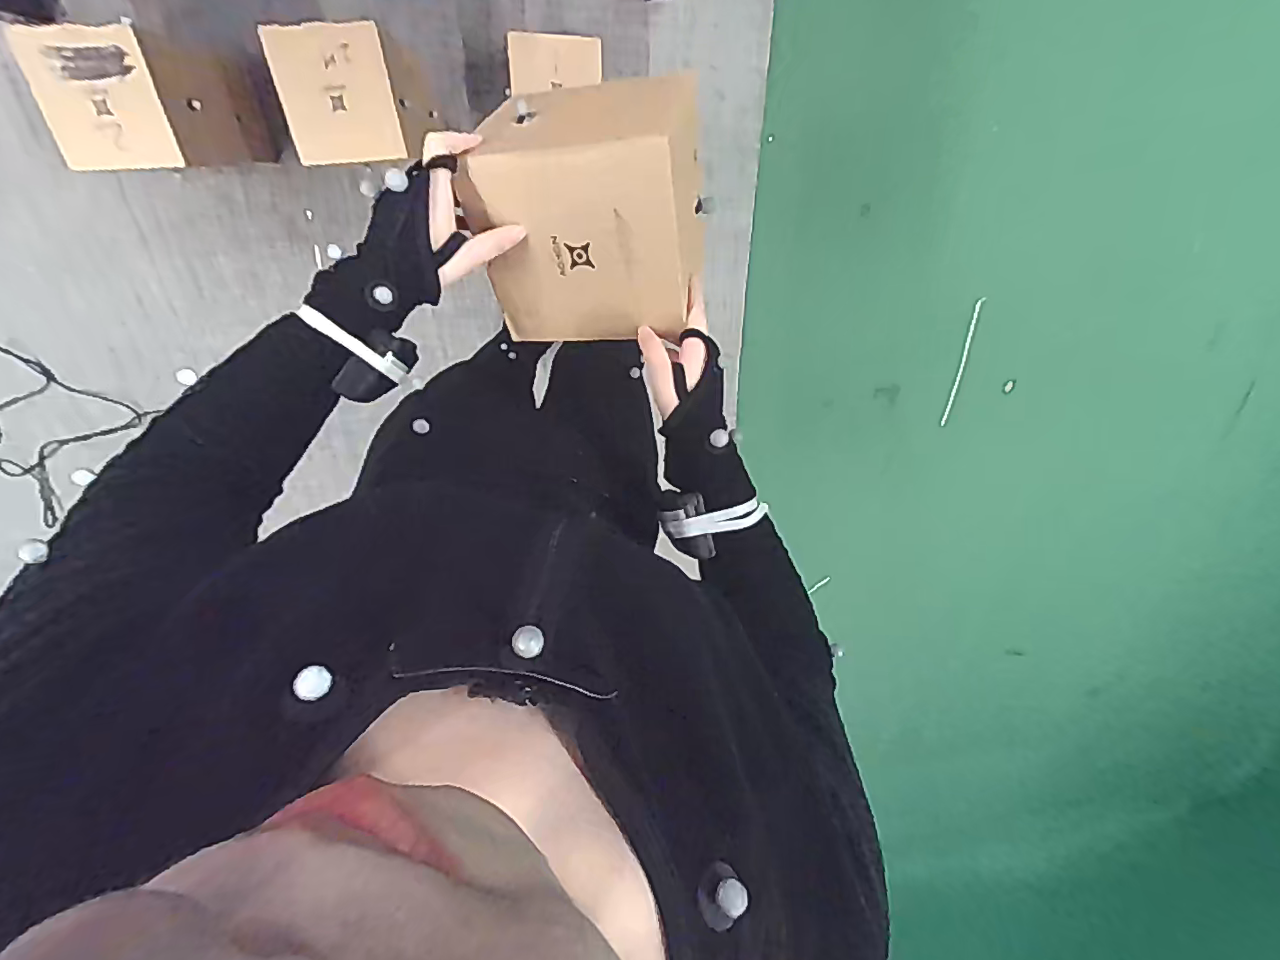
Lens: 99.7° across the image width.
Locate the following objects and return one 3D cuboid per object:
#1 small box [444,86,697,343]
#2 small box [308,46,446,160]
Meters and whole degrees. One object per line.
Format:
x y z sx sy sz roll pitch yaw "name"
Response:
-0.046 -0.249 0.515 0.179 0.176 0.168 2 139 13 "small box"
-0.489 -0.711 1.034 0.179 0.176 0.168 -5 120 -5 "small box"
